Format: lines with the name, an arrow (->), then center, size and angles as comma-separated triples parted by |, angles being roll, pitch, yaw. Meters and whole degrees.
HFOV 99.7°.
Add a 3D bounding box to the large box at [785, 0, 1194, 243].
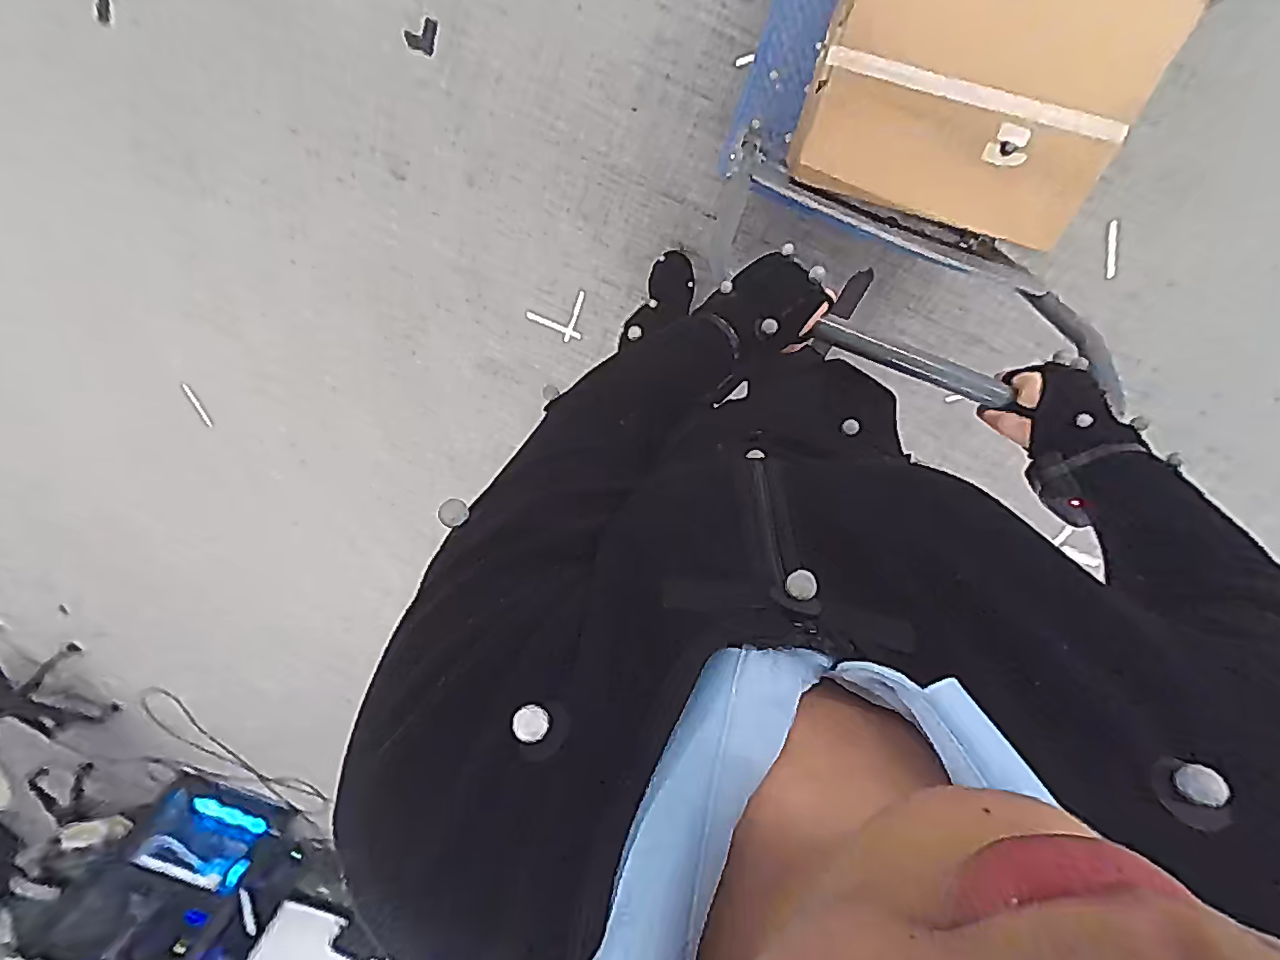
large box -> 0.481, -0.615, 0.862 | 0.408, 0.320, 0.320 | 16, 127, 0
